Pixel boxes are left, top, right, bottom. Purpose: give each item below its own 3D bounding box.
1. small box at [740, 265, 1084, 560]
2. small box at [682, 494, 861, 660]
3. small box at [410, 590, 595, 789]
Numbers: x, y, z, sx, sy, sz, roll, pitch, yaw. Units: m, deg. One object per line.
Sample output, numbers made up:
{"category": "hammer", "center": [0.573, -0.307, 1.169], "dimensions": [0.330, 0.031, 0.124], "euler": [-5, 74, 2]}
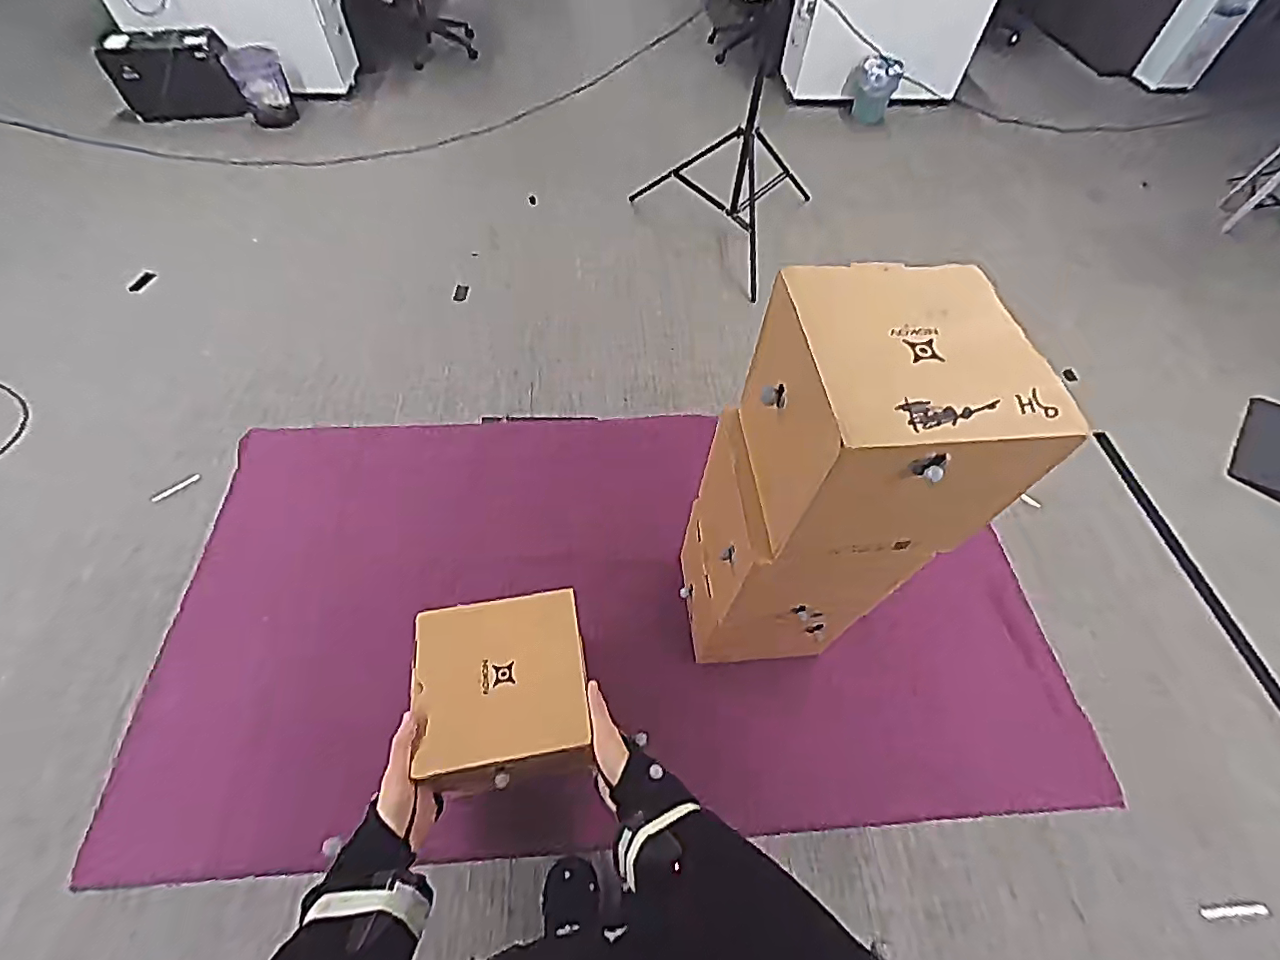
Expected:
{"category": "small box", "center": [0.188, -0.052, 0.445], "dimensions": [0.168, 0.176, 0.179], "euler": [-4, 56, -5]}
{"category": "small box", "center": [0.158, 0.130, 0.717], "dimensions": [0.179, 0.176, 0.168], "euler": [-4, 56, -4]}
{"category": "small box", "center": [-0.147, 0.246, 0.627], "dimensions": [0.179, 0.176, 0.168], "euler": [-9, 56, -7]}
